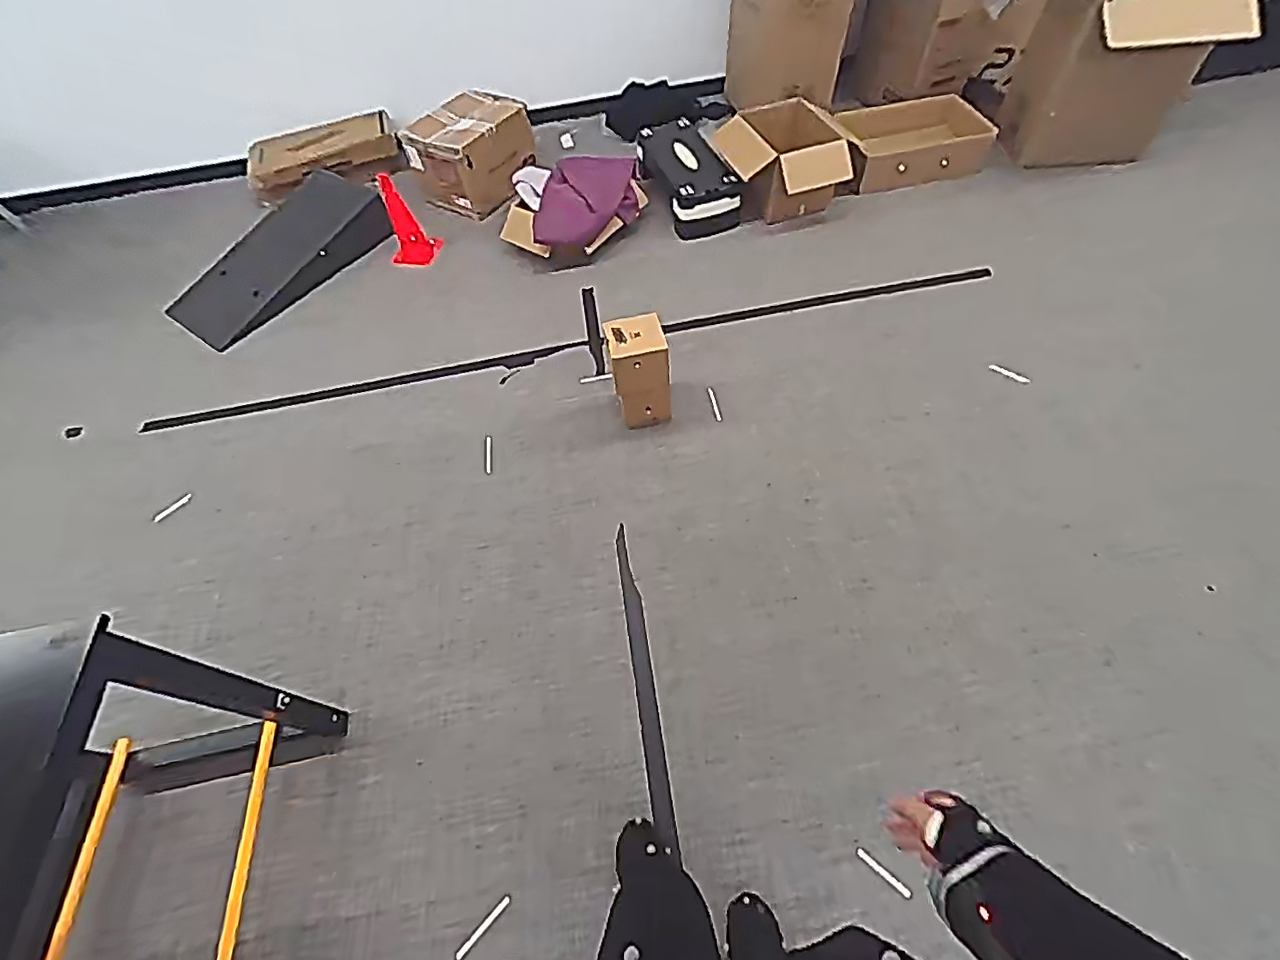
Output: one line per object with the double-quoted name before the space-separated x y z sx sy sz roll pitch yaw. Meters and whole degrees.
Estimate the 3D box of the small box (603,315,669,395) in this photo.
"small box" -0.009 -0.387 1.702 0.179 0.176 0.168 -12 57 -3

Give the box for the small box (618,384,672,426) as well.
"small box" 0.010 -0.301 1.843 0.168 0.176 0.179 -12 57 -3
